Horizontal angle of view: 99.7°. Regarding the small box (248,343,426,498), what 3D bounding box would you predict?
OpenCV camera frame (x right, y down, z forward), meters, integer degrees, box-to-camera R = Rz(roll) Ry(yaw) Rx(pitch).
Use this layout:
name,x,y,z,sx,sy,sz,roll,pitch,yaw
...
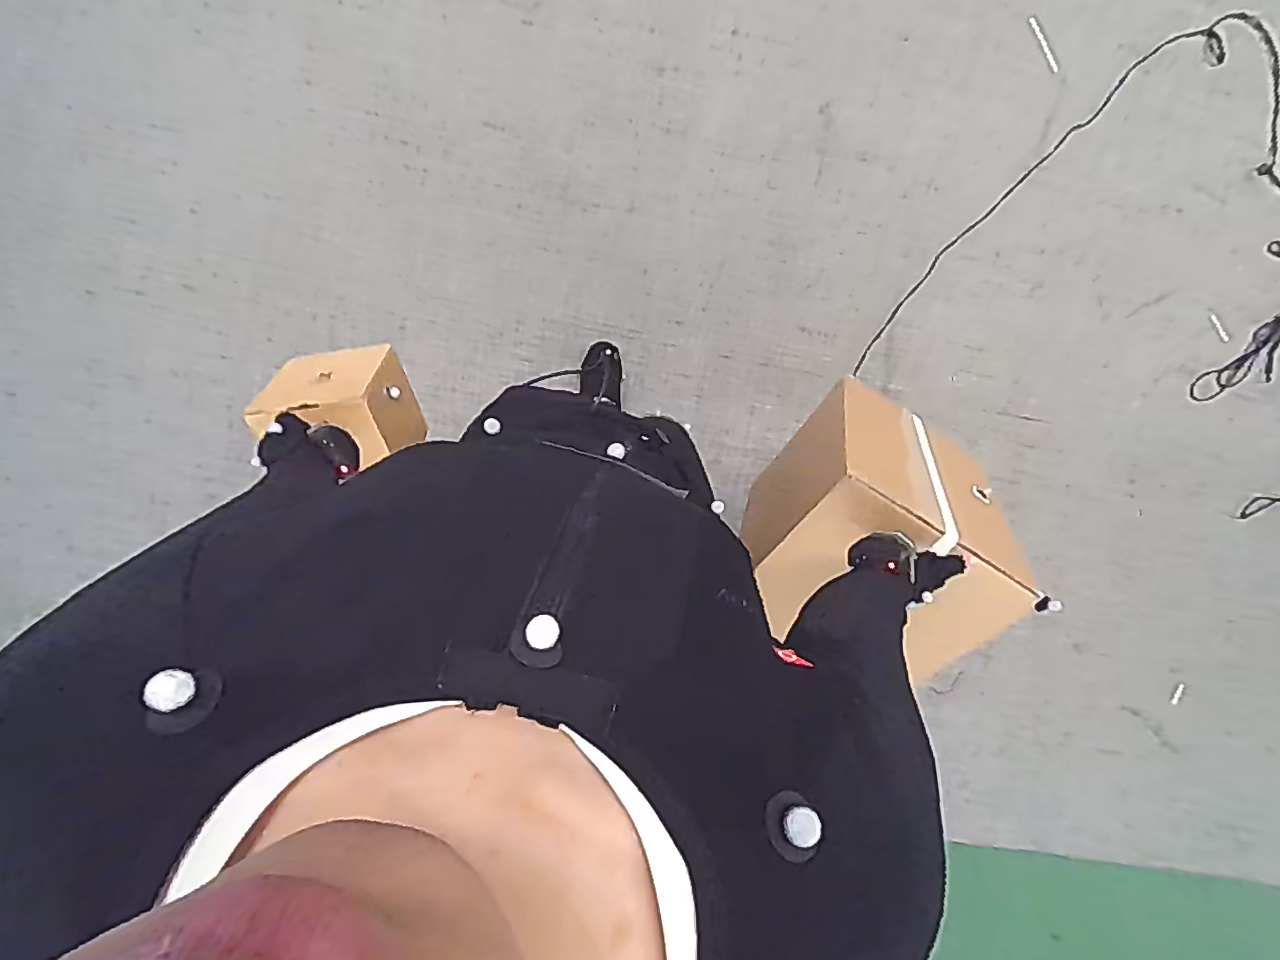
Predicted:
name,x,y,z,sx,sy,sz,roll,pitch,yaw
small box,-0.458,-0.095,0.856,0.168,0.179,0.176,-9,130,-1
